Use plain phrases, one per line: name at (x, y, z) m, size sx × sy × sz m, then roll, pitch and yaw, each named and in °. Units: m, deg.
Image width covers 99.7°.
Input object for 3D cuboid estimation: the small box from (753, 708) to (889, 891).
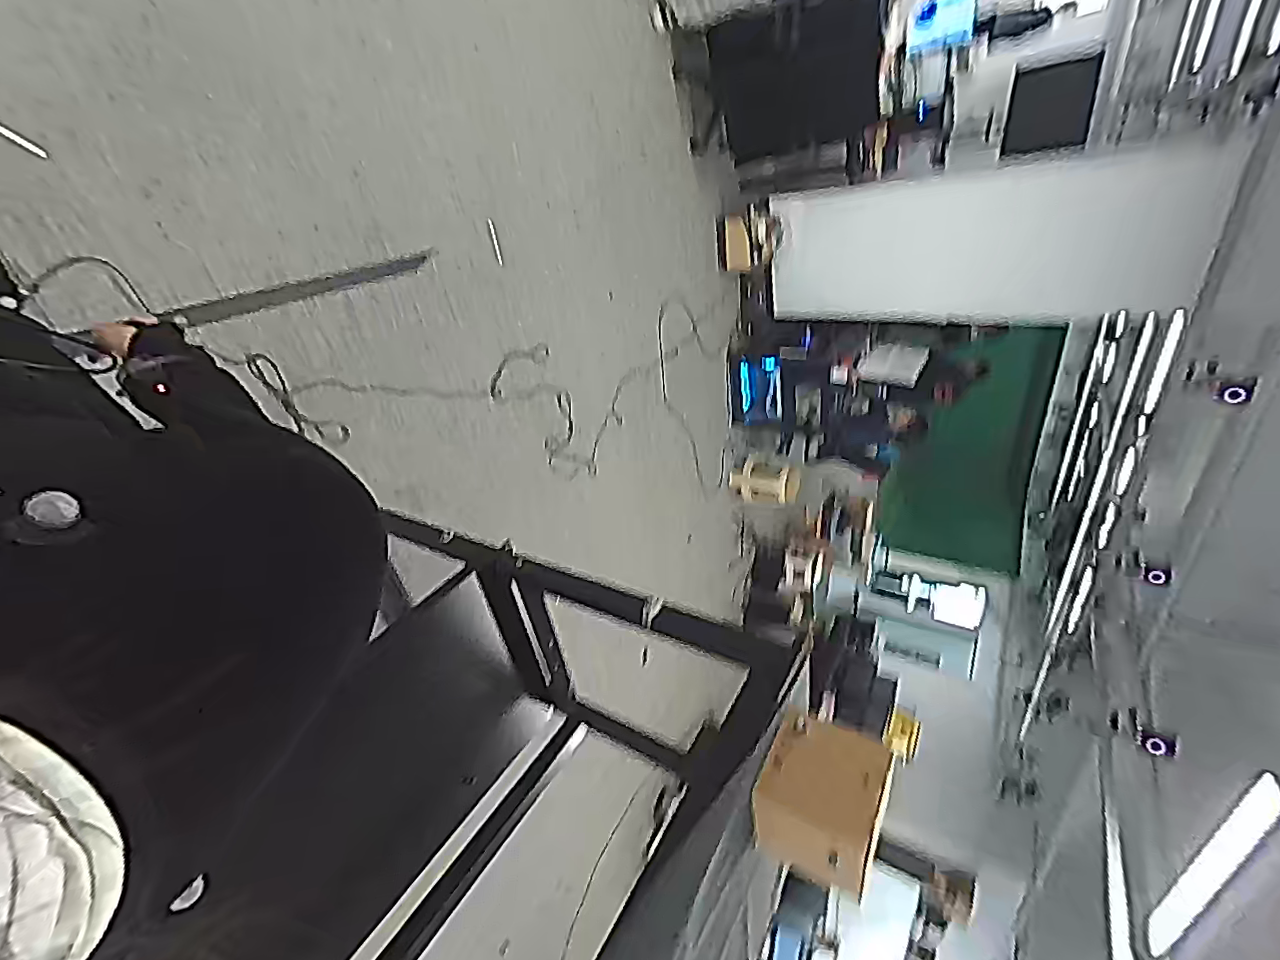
small box at (0.288, 0.497, 0.868) m, size 0.168 × 0.176 × 0.179 m, roll -45°, pitch 136°, yaw -41°
